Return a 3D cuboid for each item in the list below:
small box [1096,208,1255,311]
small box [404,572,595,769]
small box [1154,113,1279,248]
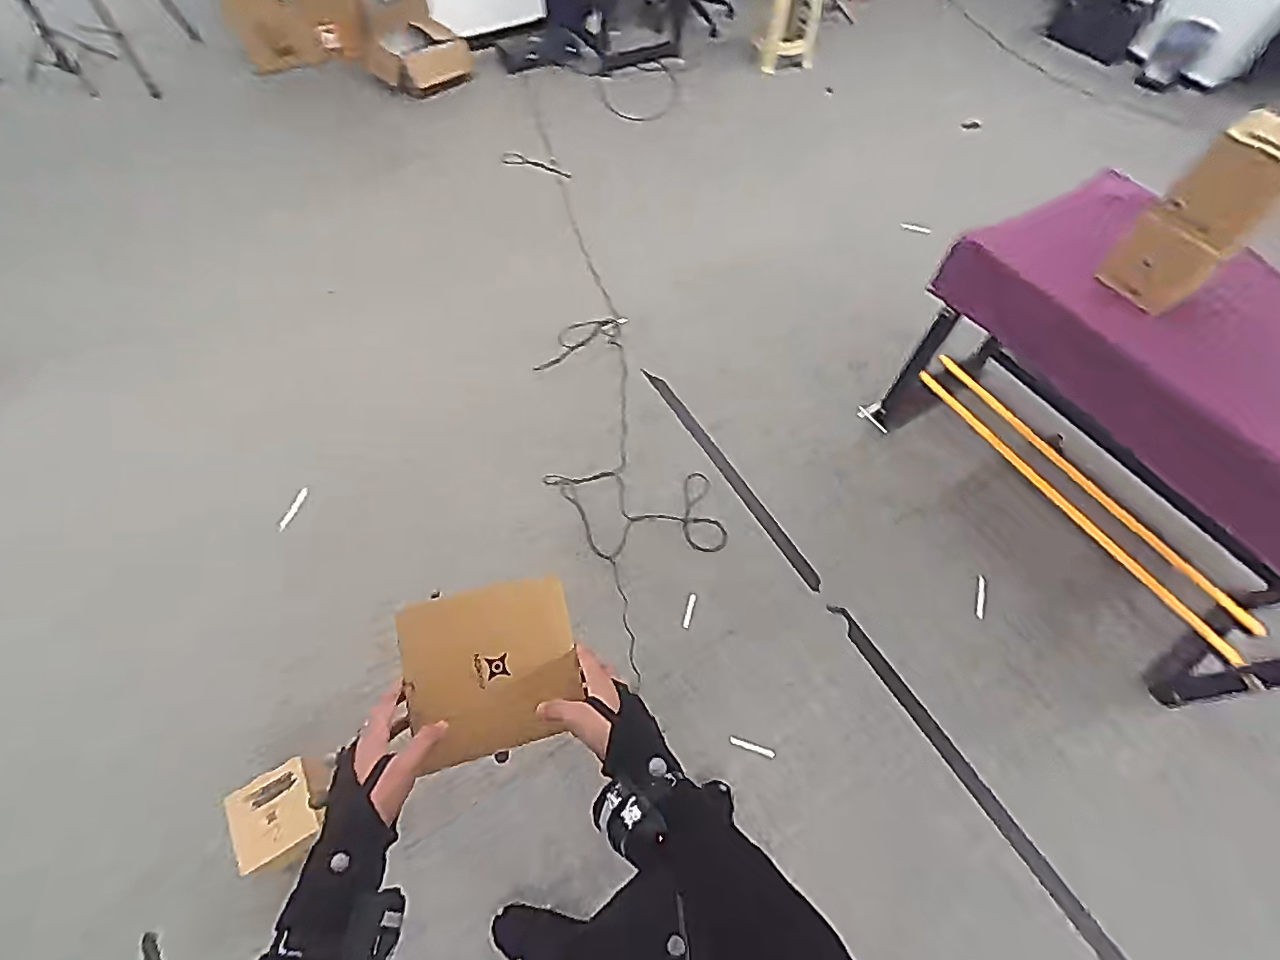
[{"bbox_3d":[1.224,-0.522,1.256,0.179,0.176,0.168,-25,64,-16],"label":"small box"},{"bbox_3d":[-0.163,0.209,0.637,0.179,0.176,0.168,-10,78,-15],"label":"small box"},{"bbox_3d":[1.237,-0.614,1.119,0.179,0.176,0.168,-28,65,-18],"label":"small box"}]
